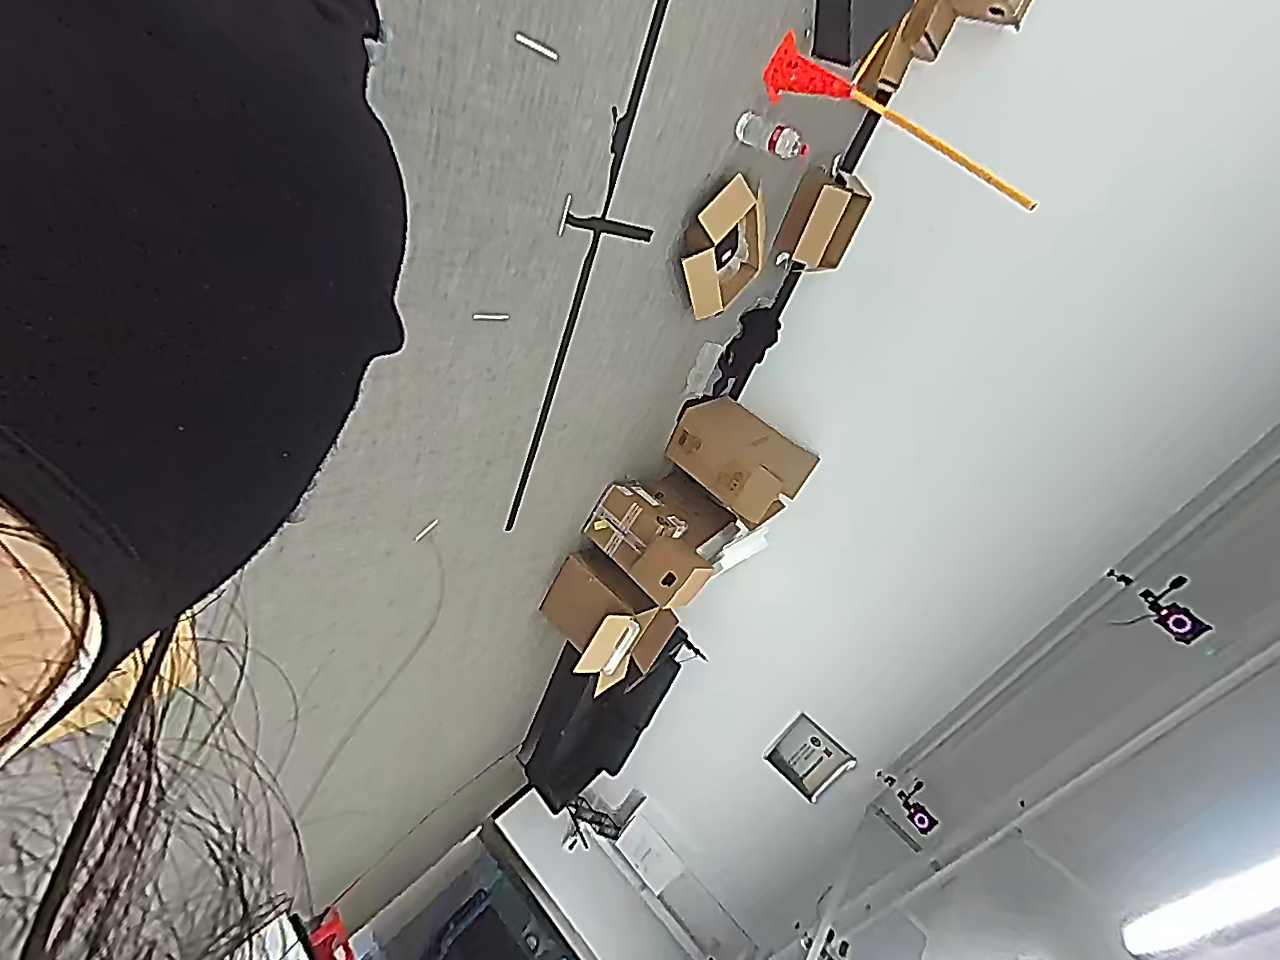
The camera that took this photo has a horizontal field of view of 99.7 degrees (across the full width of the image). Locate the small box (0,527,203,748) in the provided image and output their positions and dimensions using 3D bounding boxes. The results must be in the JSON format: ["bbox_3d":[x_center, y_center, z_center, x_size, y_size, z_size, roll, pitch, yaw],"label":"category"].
[{"bbox_3d":[-0.683,0.180,0.674,0.168,0.176,0.179,-21,143,-49],"label":"small box"}]
